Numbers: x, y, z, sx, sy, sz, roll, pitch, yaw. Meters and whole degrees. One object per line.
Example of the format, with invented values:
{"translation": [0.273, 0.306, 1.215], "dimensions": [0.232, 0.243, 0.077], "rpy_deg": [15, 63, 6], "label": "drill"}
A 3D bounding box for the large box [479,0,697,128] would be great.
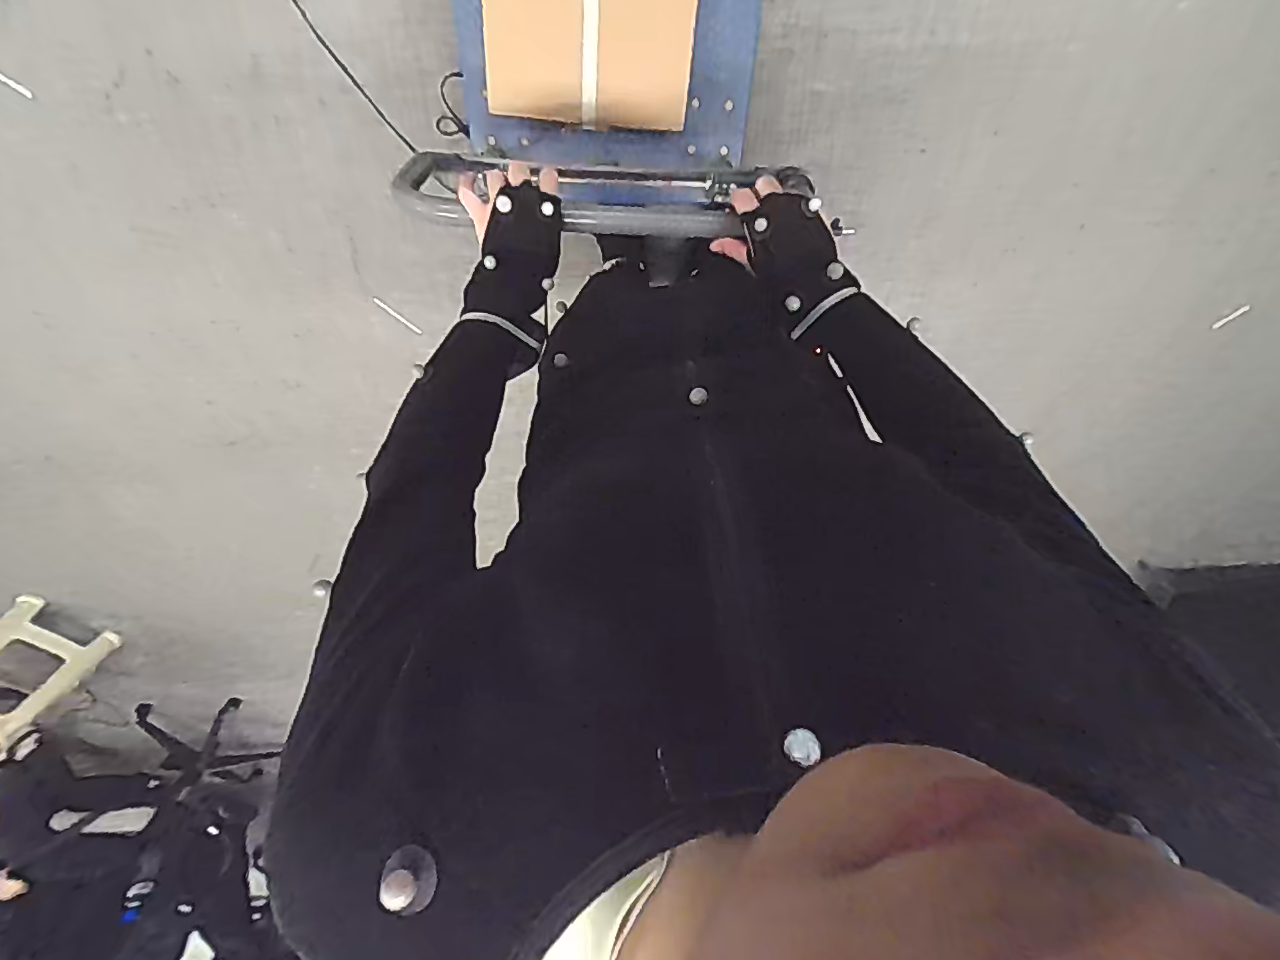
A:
{"translation": [-0.075, -0.814, 0.868], "dimensions": [0.320, 0.320, 0.408], "rpy_deg": [3, 123, -5], "label": "large box"}
